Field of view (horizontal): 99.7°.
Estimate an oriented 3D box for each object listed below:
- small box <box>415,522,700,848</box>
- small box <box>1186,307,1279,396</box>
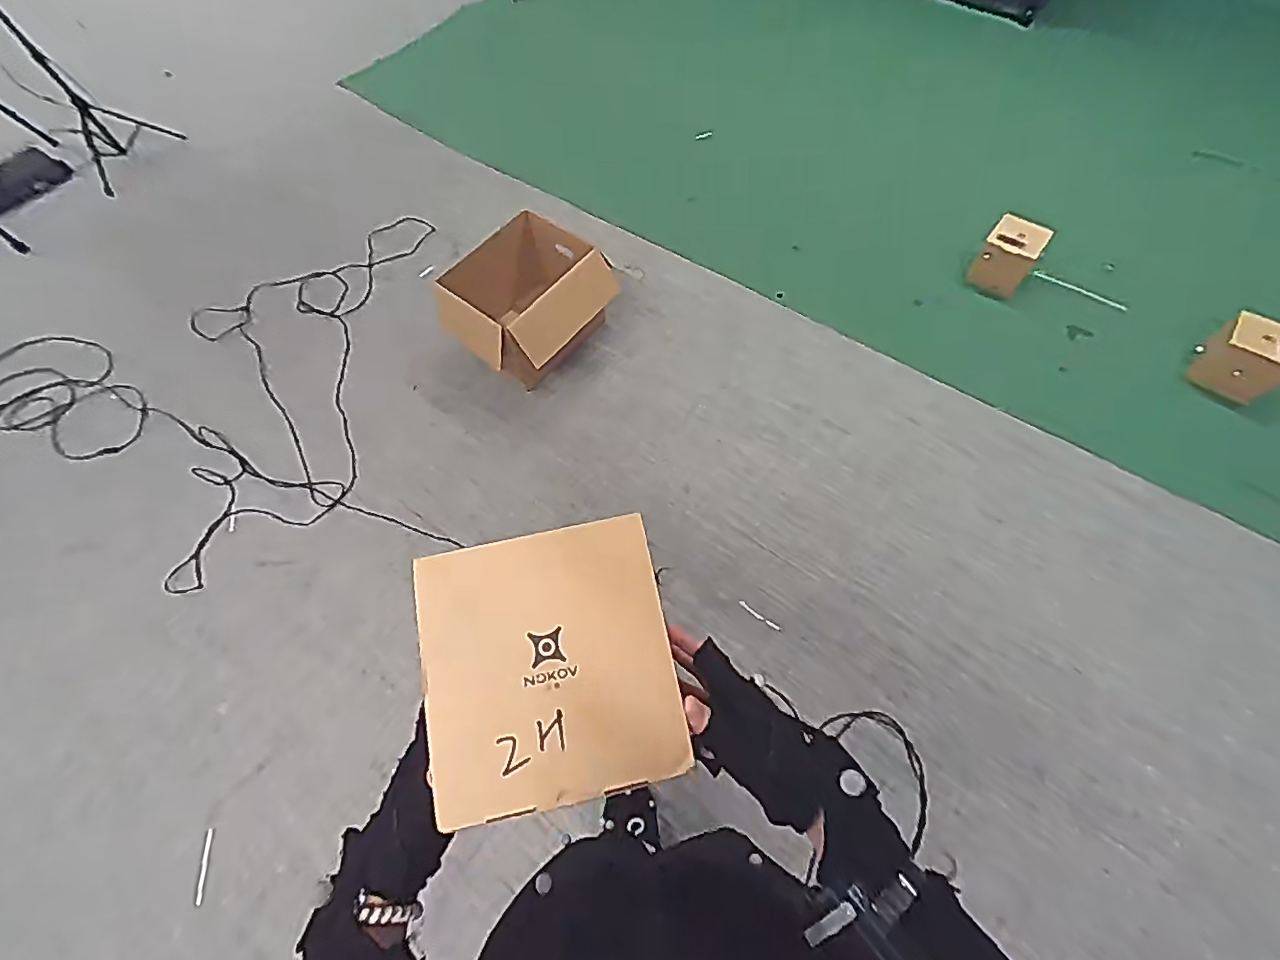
[{"bbox_3d":[-0.059,0.147,0.425,0.168,0.176,0.179,-11,74,-3],"label":"small box"},{"bbox_3d":[1.834,-0.380,1.633,0.179,0.176,0.168,34,69,18],"label":"small box"}]
